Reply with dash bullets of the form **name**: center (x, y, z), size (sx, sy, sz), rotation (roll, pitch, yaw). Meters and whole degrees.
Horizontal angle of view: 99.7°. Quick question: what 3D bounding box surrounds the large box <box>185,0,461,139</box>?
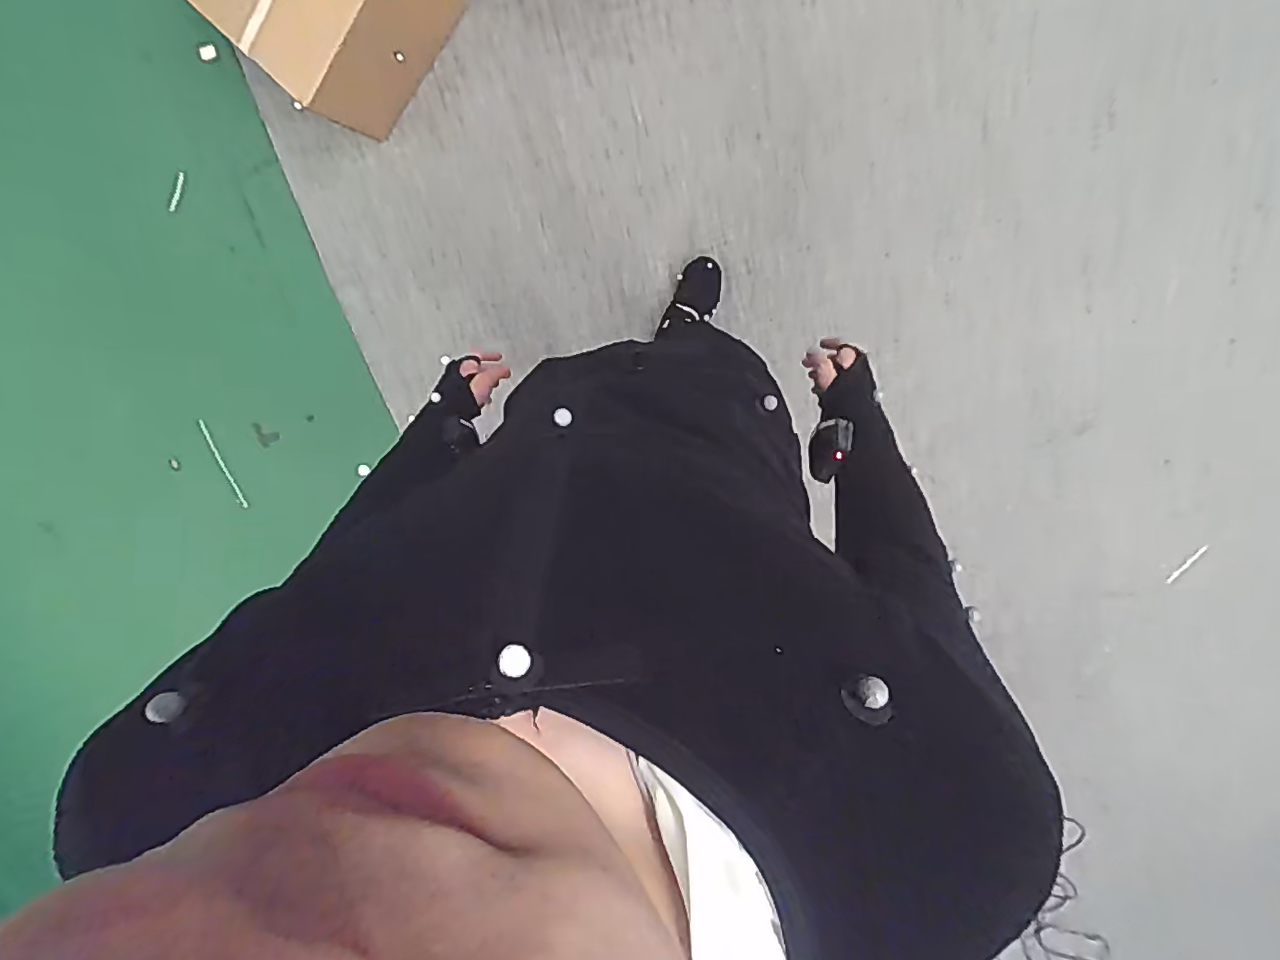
- **large box**: center (-0.675, -1.071, 1.199), size (0.320, 0.320, 0.408), rotation (42, 110, -8)
